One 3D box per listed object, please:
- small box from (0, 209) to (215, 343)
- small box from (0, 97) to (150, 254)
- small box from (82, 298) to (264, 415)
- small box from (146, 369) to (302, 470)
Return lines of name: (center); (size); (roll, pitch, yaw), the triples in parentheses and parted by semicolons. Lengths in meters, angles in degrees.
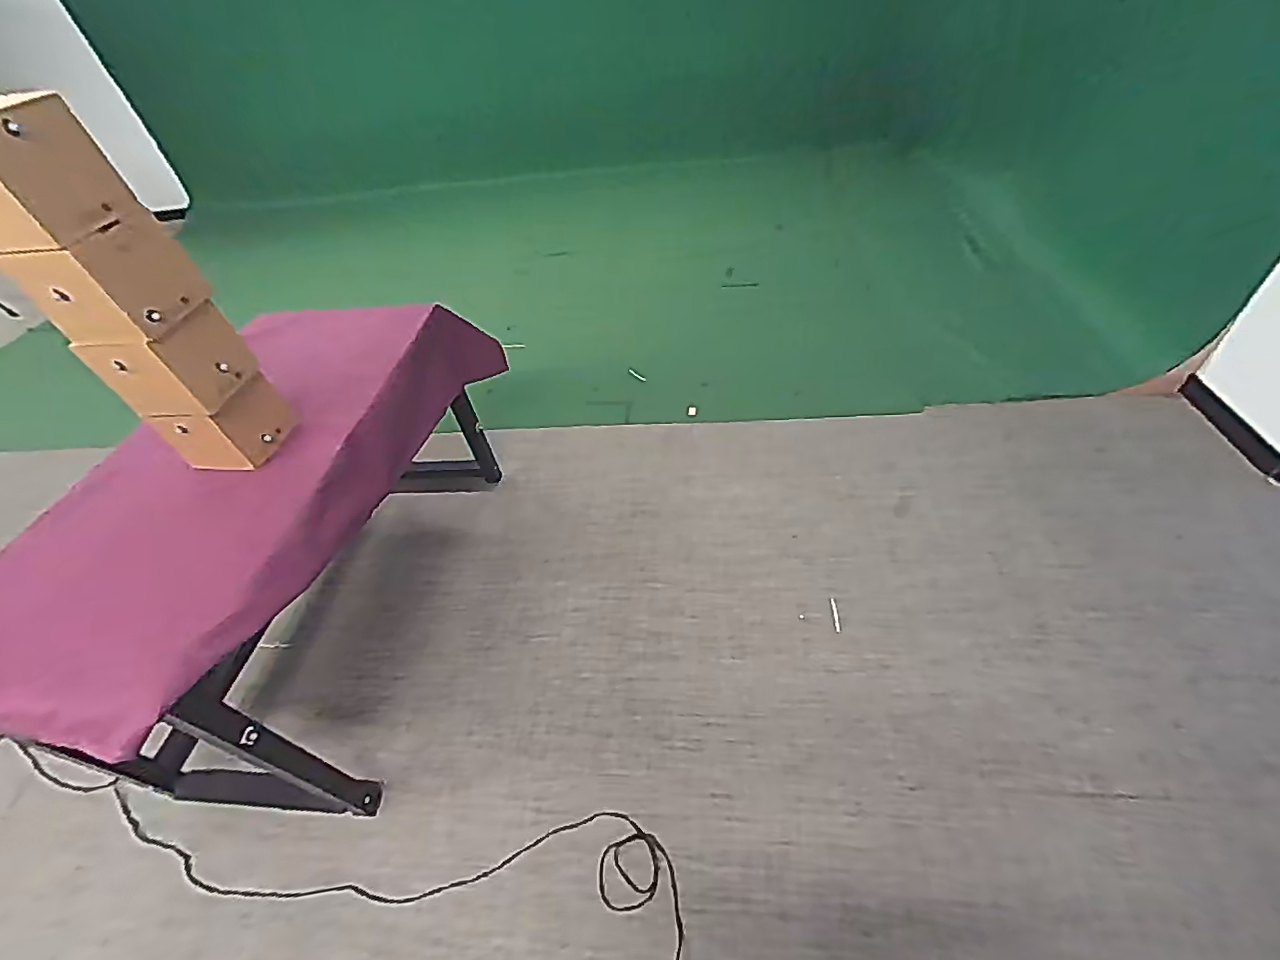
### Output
small box: (-0.924, -0.358, 0.961); (0.179, 0.176, 0.168); (1, 48, 11)
small box: (-0.948, -0.468, 0.843); (0.179, 0.176, 0.168); (2, 48, 12)
small box: (-0.915, -0.243, 1.079); (0.179, 0.176, 0.168); (1, 48, 10)
small box: (-0.911, -0.136, 1.203); (0.179, 0.176, 0.168); (3, 48, 11)
